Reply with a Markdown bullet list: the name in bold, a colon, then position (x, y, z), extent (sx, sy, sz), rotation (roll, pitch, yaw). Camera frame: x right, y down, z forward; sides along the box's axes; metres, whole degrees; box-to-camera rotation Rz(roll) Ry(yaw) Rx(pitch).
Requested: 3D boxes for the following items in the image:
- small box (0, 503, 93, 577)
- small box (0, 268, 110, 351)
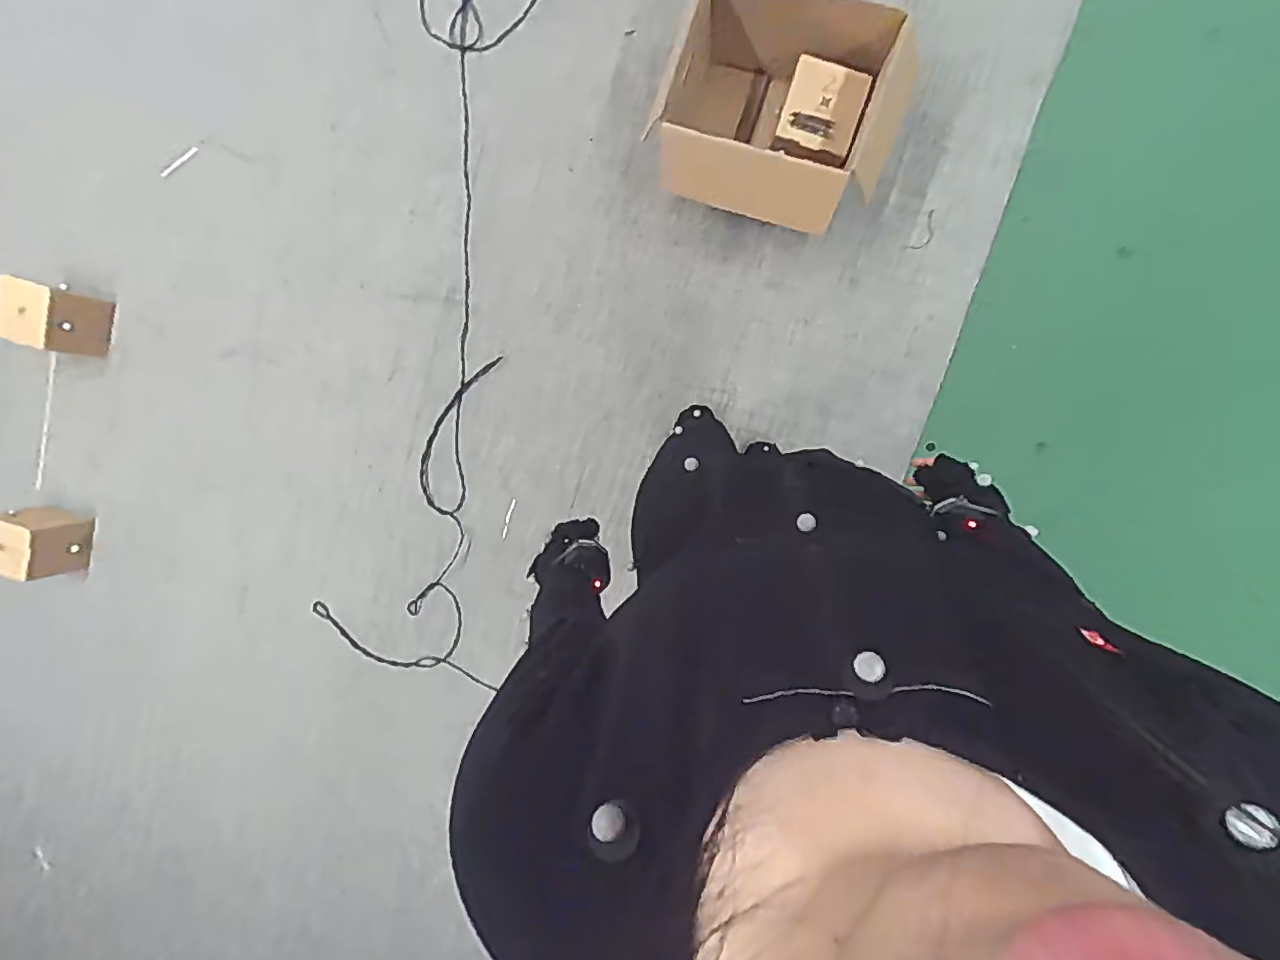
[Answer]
- **small box**: position (-1.846, 0.176, 1.651), extent (0.179, 0.176, 0.168), rotation (16, 99, 4)
- **small box**: position (-1.681, -0.482, 1.548), extent (0.168, 0.176, 0.179), rotation (16, 99, 4)
